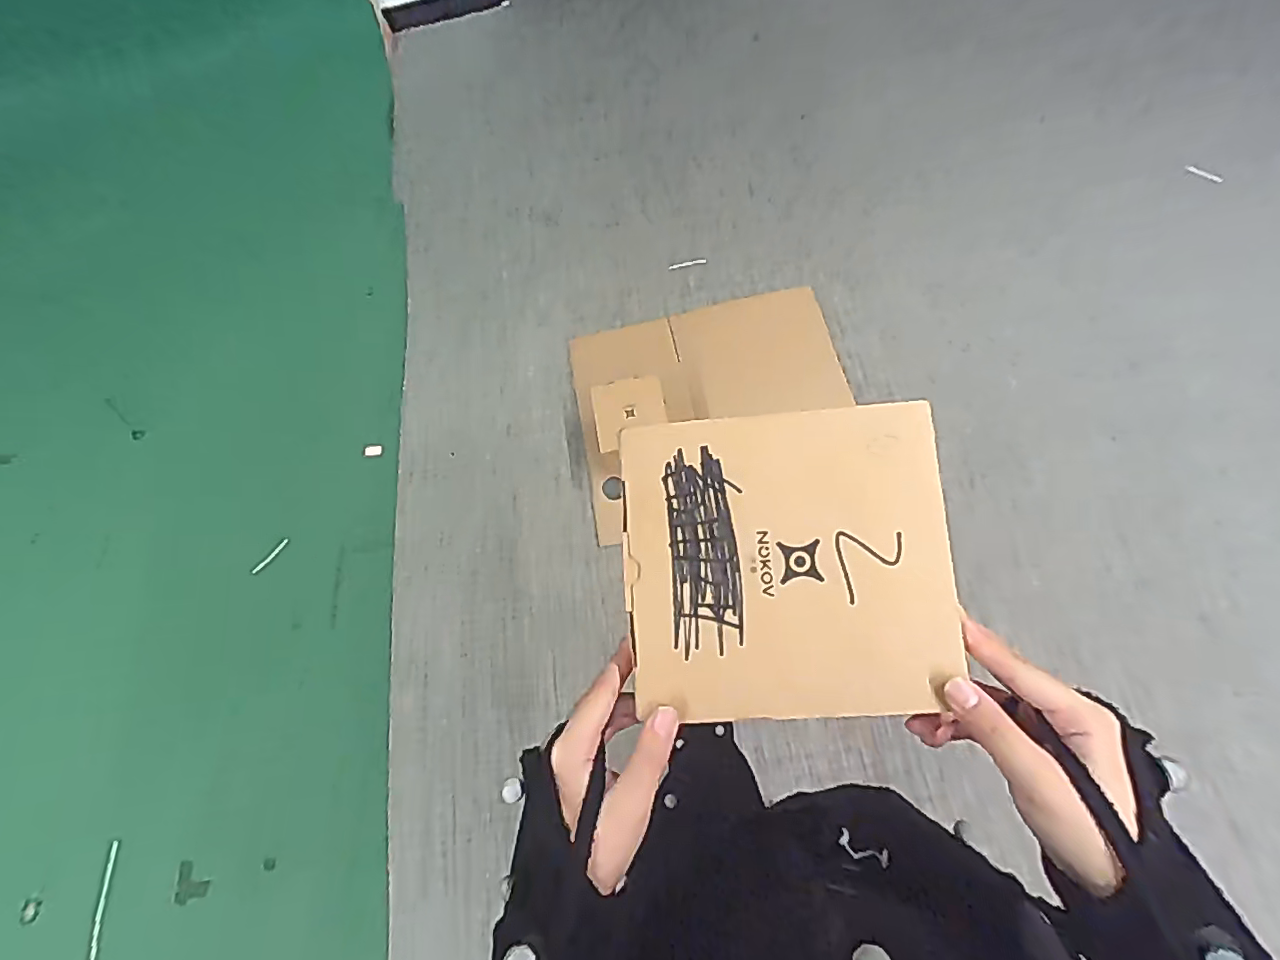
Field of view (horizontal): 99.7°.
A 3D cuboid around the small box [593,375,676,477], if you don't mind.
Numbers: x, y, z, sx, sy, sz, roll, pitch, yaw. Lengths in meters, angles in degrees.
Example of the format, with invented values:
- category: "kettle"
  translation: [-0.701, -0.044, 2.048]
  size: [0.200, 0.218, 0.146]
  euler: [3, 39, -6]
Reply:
- category: "small box"
  translation: [-0.010, -0.126, 1.315]
  size: [0.168, 0.176, 0.179]
  euler: [-12, 70, 4]
